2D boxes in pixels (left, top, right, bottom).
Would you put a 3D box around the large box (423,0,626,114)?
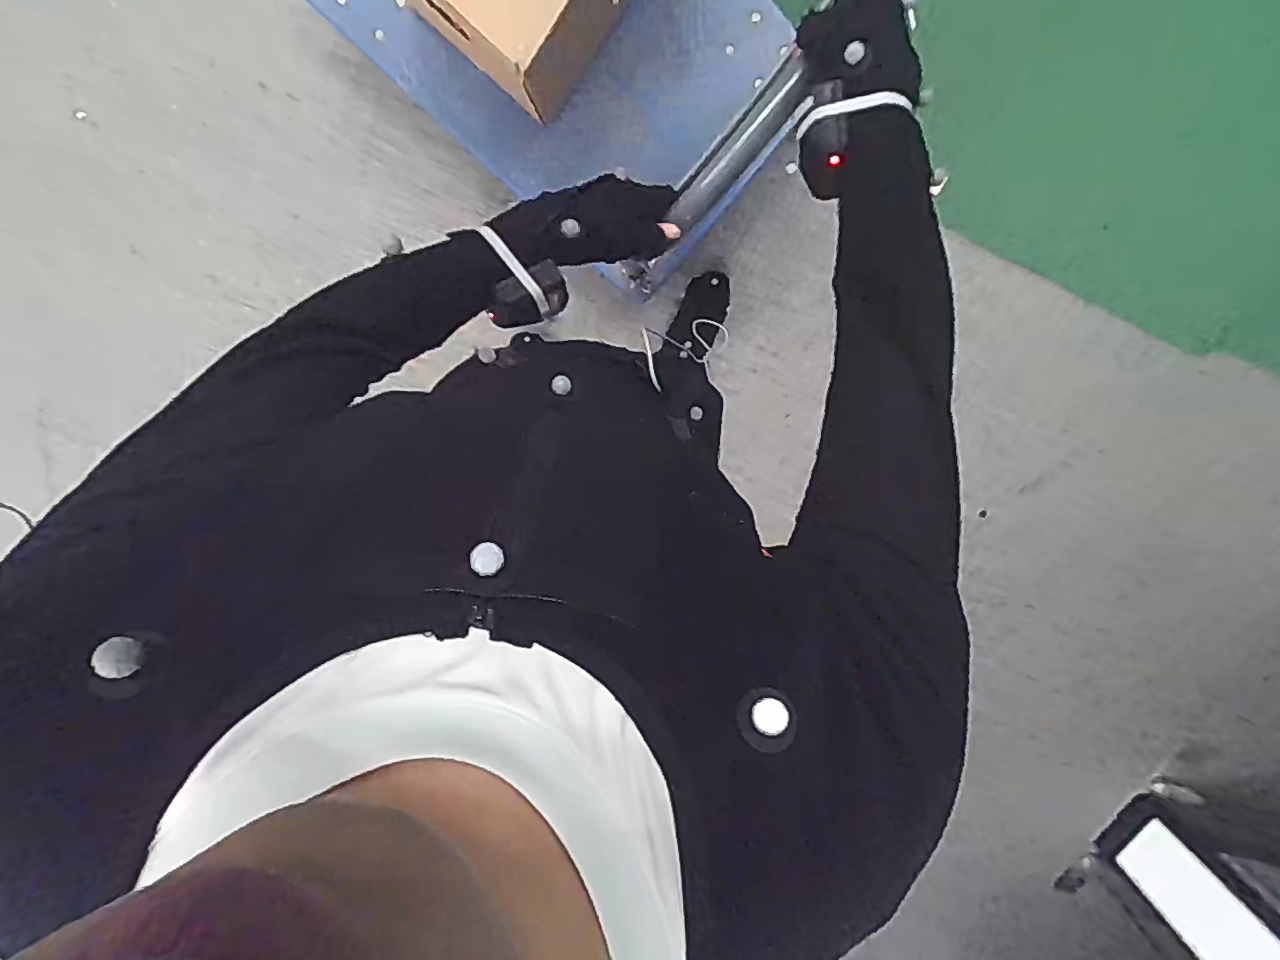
[{"bbox_3d":[-0.158,-0.886,0.830,0.320,0.320,0.408,36,106,-14],"label":"large box"}]
